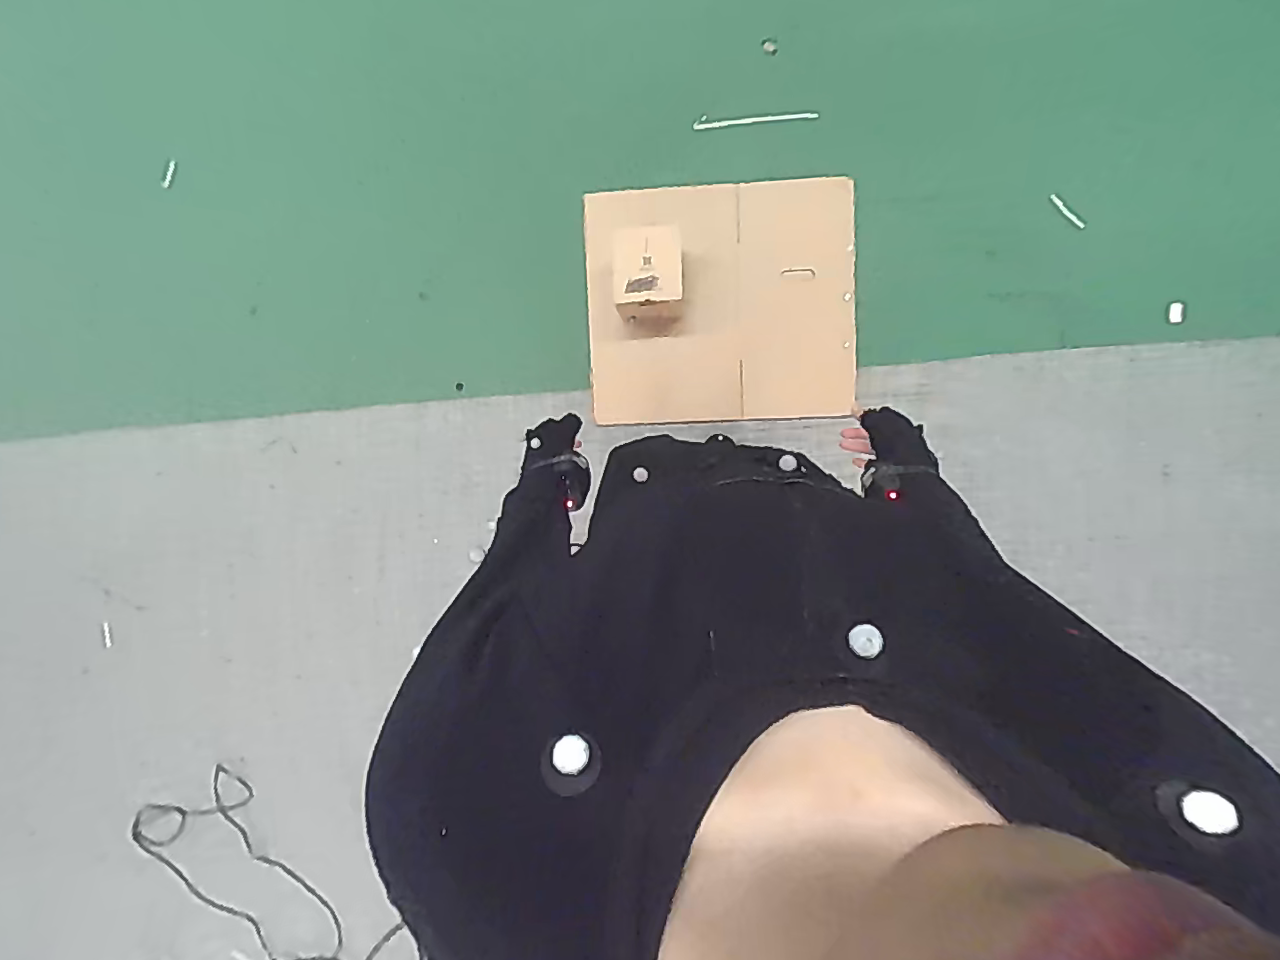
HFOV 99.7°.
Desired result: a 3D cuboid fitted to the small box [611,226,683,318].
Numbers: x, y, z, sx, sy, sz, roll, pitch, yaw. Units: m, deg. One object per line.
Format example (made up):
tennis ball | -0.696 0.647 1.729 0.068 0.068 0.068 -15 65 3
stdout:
small box | 0.022 -0.505 1.341 0.168 0.176 0.179 -1 93 5
